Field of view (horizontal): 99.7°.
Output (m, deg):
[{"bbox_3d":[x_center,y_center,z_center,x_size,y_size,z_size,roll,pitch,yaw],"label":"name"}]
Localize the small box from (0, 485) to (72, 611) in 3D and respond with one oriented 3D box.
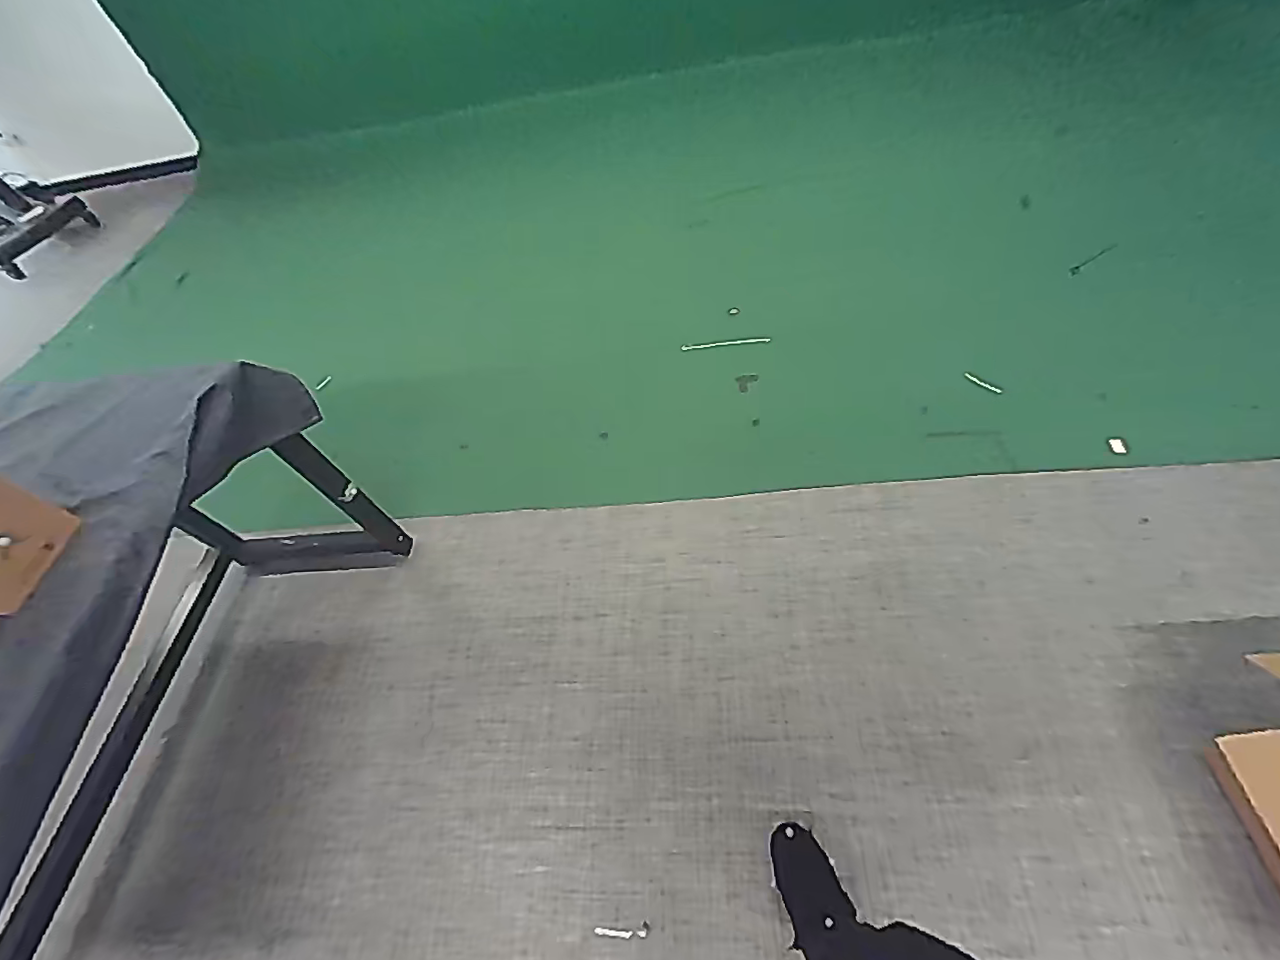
[{"bbox_3d":[-1.026,0.093,0.796,0.179,0.176,0.168,-4,55,8],"label":"small box"}]
